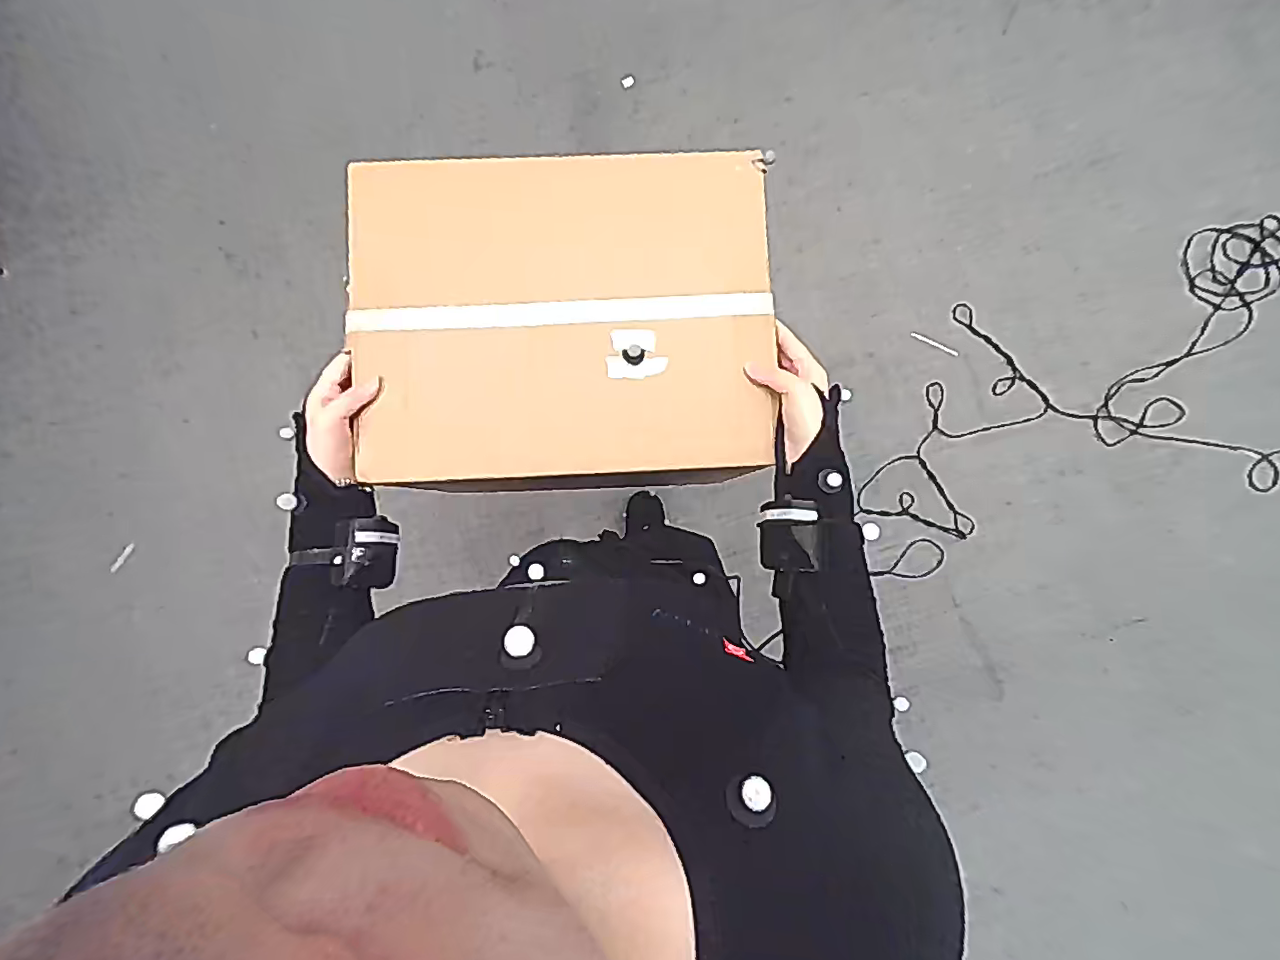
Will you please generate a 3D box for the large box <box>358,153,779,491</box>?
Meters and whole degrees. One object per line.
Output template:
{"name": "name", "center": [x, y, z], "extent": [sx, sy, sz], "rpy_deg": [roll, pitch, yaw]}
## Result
{"name": "large box", "center": [-0.078, -0.158, 0.677], "extent": [0.408, 0.320, 0.320], "rpy_deg": [-3, 87, -3]}
